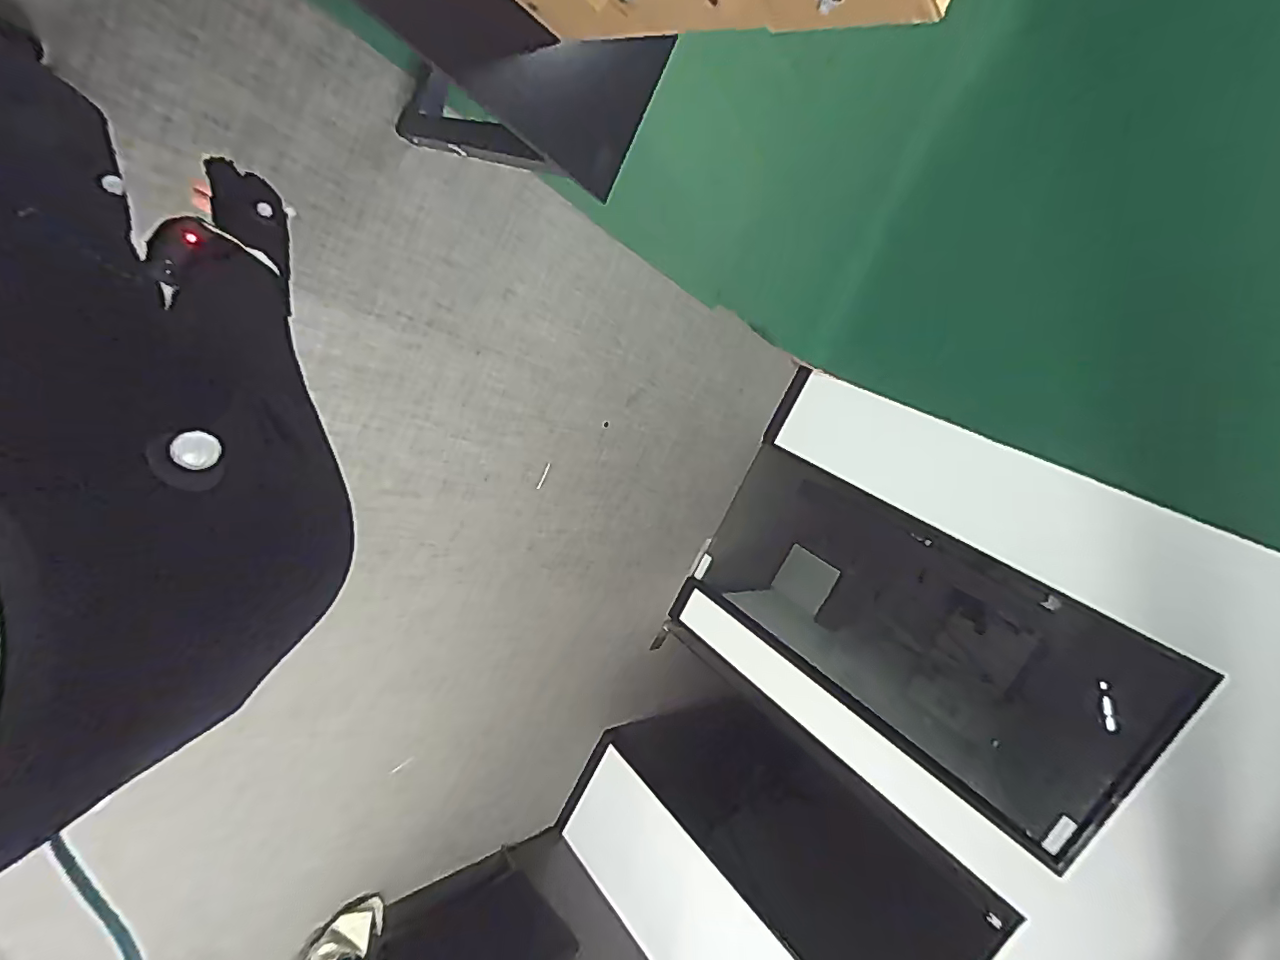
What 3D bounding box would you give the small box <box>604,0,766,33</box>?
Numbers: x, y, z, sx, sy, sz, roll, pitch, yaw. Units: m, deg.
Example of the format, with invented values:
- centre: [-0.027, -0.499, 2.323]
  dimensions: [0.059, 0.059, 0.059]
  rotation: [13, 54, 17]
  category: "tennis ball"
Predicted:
- centre: [0.034, -0.540, 0.474]
  dimensions: [0.168, 0.176, 0.179]
  rotation: [1, 116, -48]
  category: "small box"
